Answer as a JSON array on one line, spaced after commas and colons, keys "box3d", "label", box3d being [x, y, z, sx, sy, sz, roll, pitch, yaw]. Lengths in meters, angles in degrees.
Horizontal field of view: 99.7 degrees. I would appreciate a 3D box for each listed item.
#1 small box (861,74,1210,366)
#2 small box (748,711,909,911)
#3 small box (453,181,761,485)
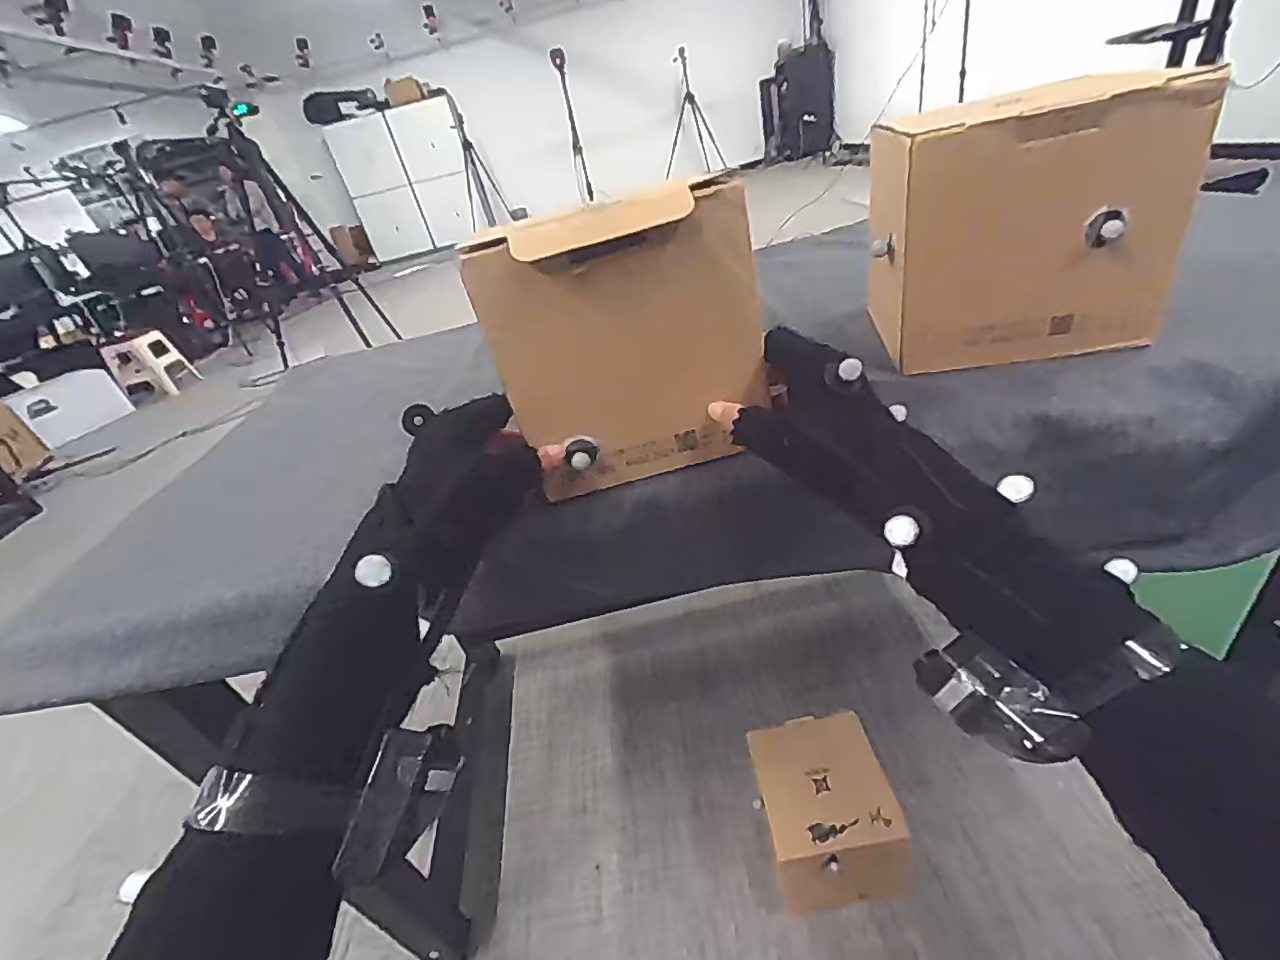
[{"box3d": [0.277, -0.197, 0.433, 0.168, 0.176, 0.179, -4, 32, 15], "label": "small box"}, {"box3d": [0.262, 0.471, 0.777, 0.168, 0.176, 0.179, -14, 31, 4], "label": "small box"}, {"box3d": [-0.017, -0.110, 0.410, 0.168, 0.176, 0.179, -15, 29, 1], "label": "small box"}]
